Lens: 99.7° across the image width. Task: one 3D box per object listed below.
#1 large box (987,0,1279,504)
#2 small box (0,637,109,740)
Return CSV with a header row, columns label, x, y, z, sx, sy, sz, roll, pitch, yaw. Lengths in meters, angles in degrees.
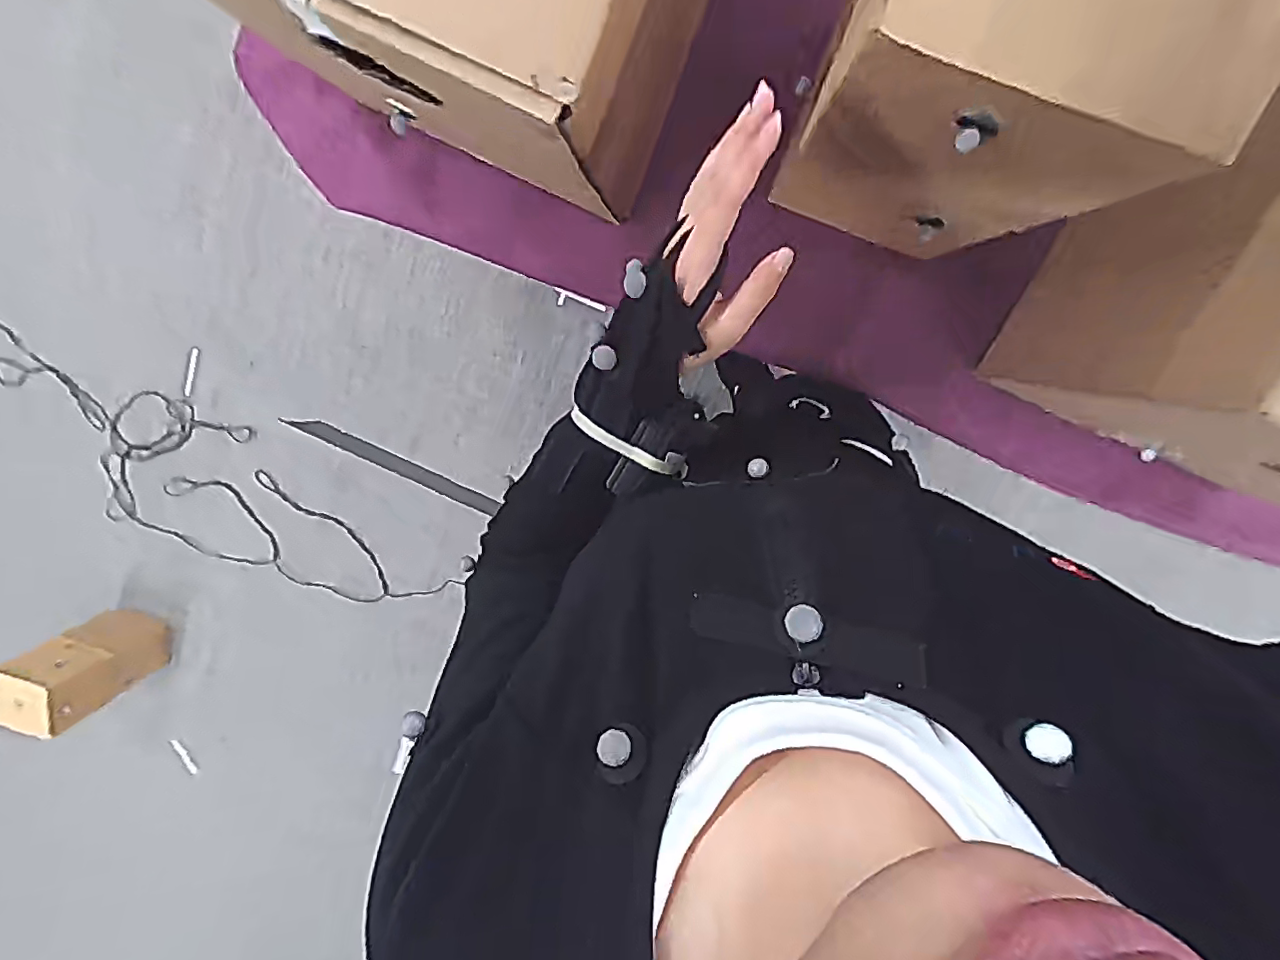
label,x,y,z,sx,sy,sz,roll,pitch,yaw
large box,0.556,-0.183,0.378,0.320,0.320,0.408,24,105,-1
small box,-1.602,0.559,1.470,0.168,0.176,0.179,17,107,2
